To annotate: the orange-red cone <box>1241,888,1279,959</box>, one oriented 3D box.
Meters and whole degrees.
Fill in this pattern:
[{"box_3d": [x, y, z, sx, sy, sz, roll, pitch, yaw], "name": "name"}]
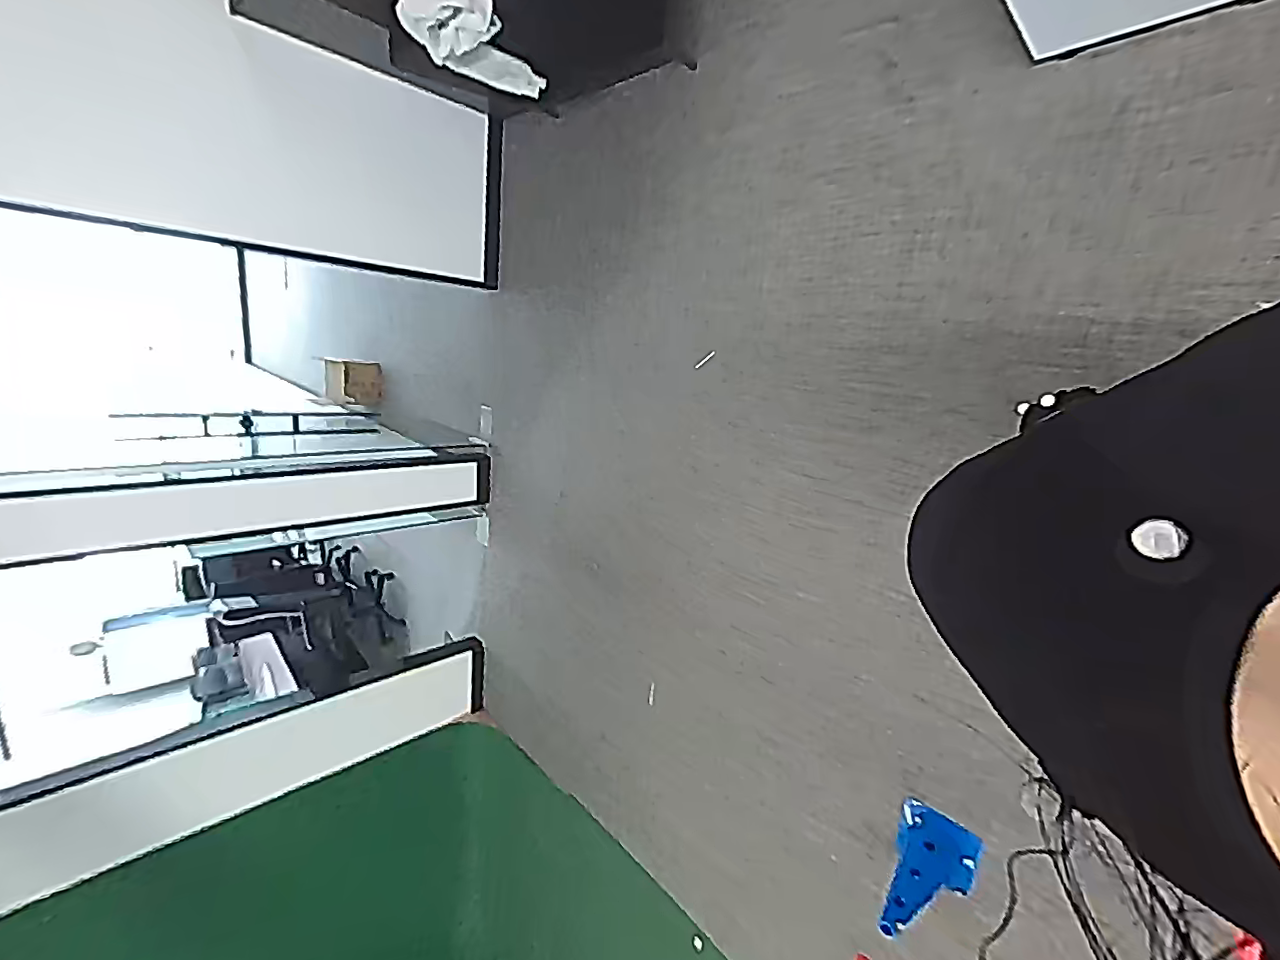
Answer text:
[{"box_3d": [1.177, 0.916, 0.897, 0.198, 0.360, 0.199, 26, 115, 42], "name": "orange-red cone"}]
